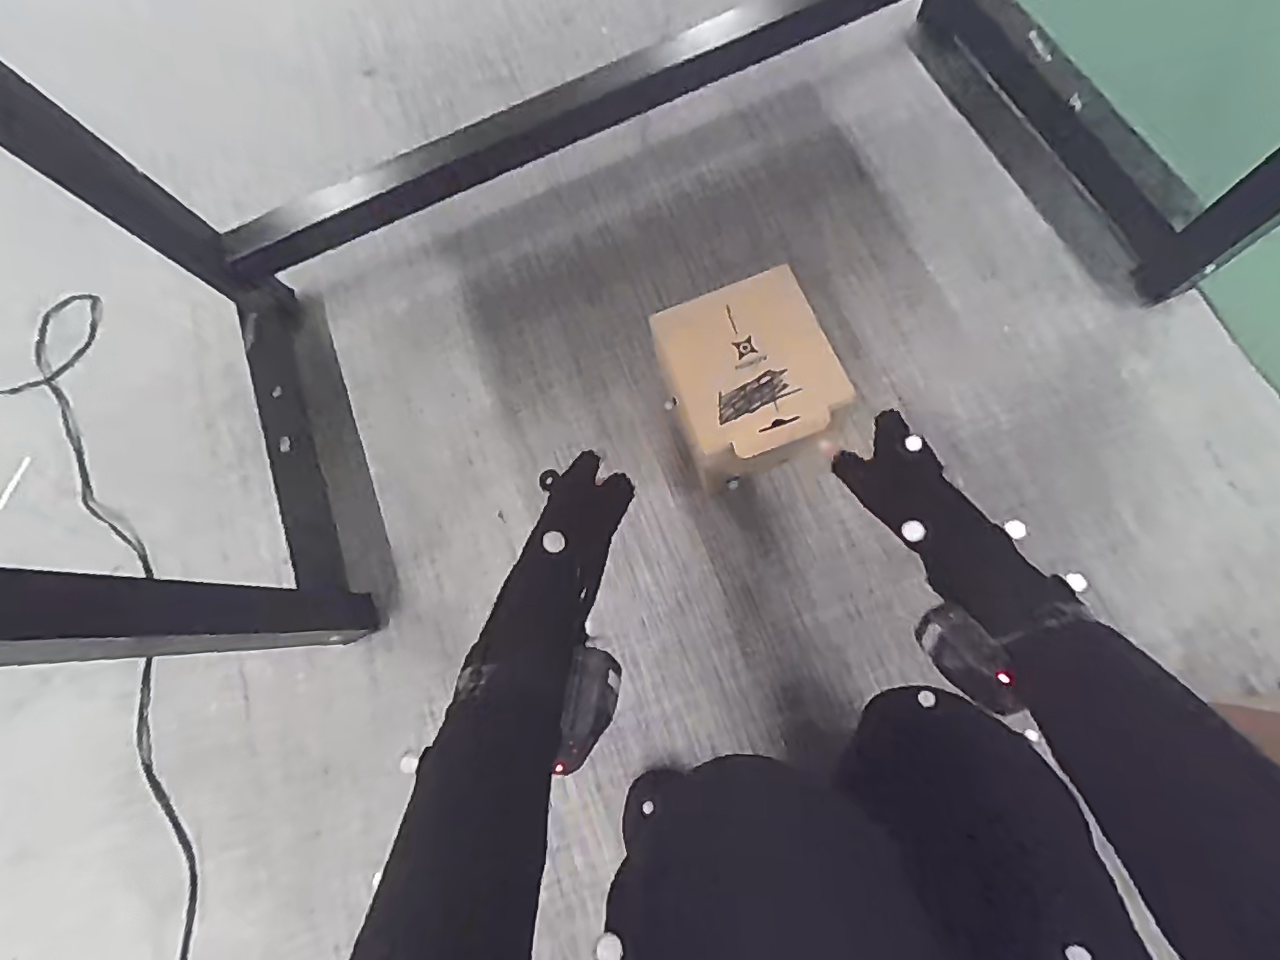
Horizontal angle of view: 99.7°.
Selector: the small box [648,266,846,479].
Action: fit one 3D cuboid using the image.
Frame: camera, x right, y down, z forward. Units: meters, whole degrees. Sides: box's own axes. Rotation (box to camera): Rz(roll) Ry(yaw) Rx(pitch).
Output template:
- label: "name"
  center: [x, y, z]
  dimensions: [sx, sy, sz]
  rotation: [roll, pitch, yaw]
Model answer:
- label: "small box"
  center: [0.122, -0.112, 0.651]
  dimensions: [0.168, 0.176, 0.179]
  rotation: [-20, 73, 3]
